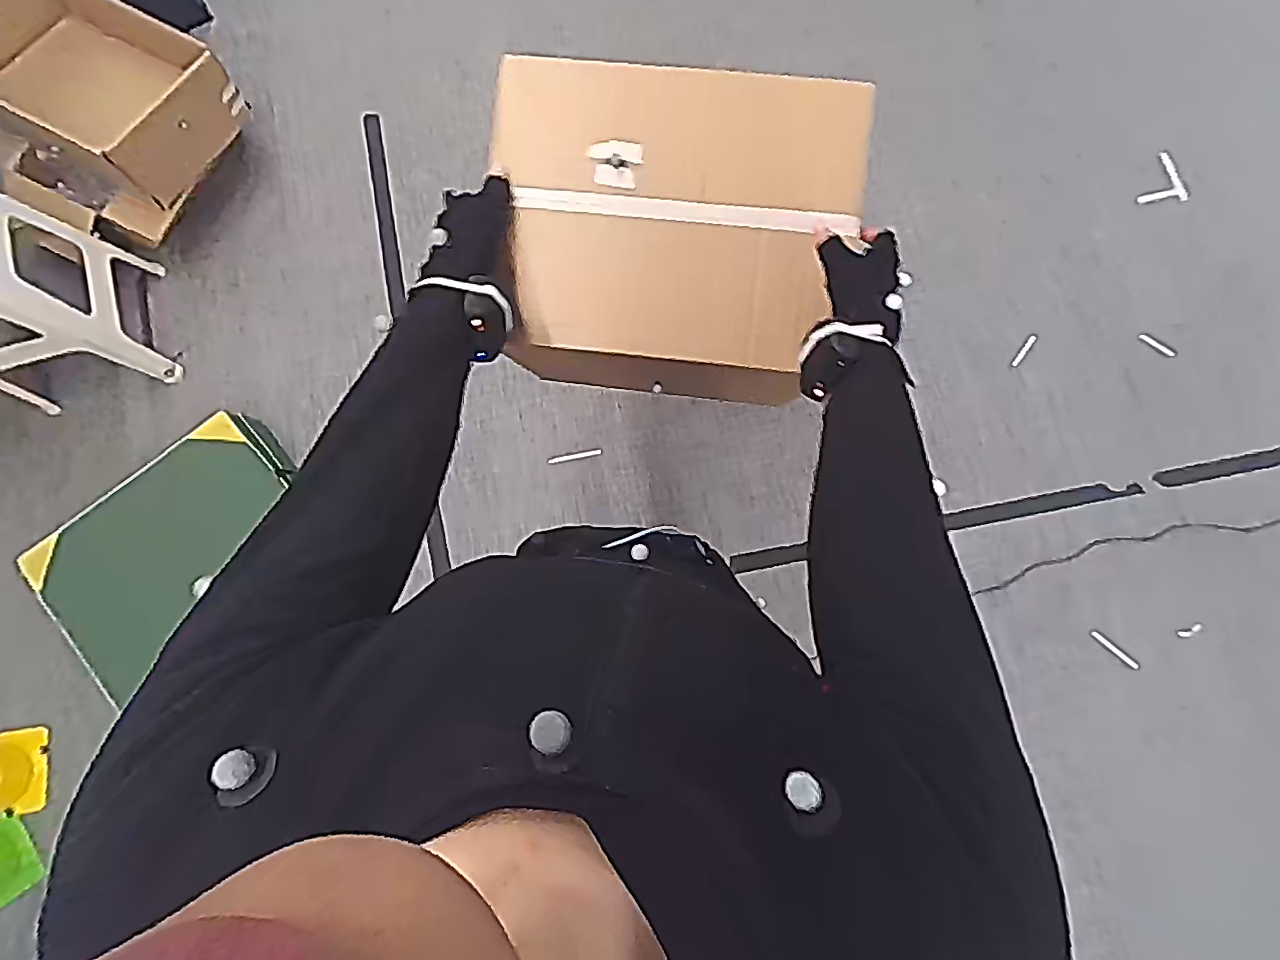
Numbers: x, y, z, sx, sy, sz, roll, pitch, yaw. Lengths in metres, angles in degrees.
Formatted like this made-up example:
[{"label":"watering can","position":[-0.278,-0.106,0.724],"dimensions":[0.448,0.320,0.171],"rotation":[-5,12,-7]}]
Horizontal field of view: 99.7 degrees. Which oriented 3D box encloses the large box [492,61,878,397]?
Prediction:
[{"label":"large box","position":[0.055,-0.300,0.746],"dimensions":[0.408,0.320,0.320],"rotation":[8,92,4]}]
